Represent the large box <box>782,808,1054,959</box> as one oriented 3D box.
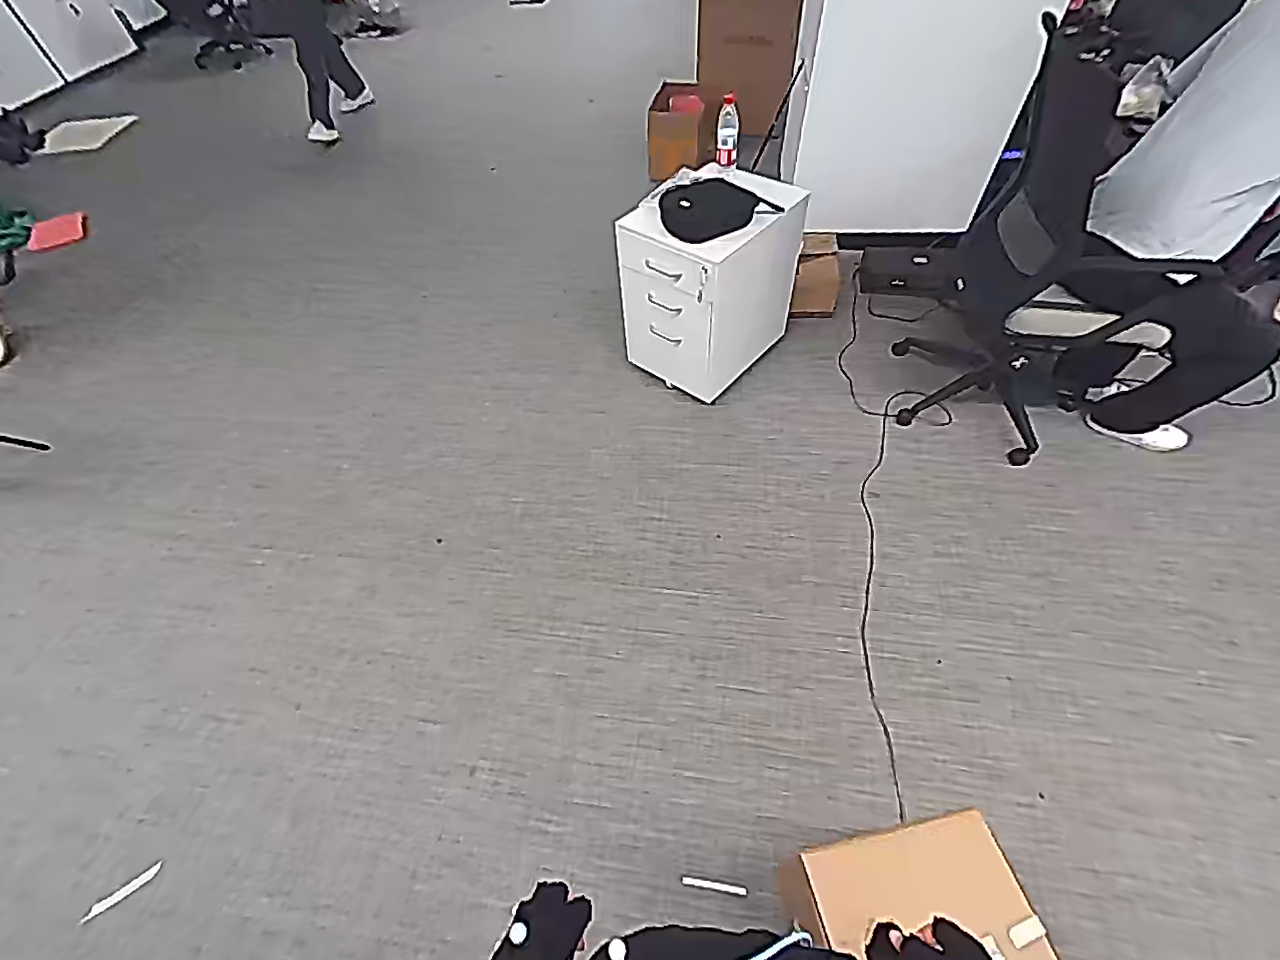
[{"bbox_3d":[0.468,0.816,0.950,0.320,0.408,0.320,-13,51,-2],"label":"large box"}]
